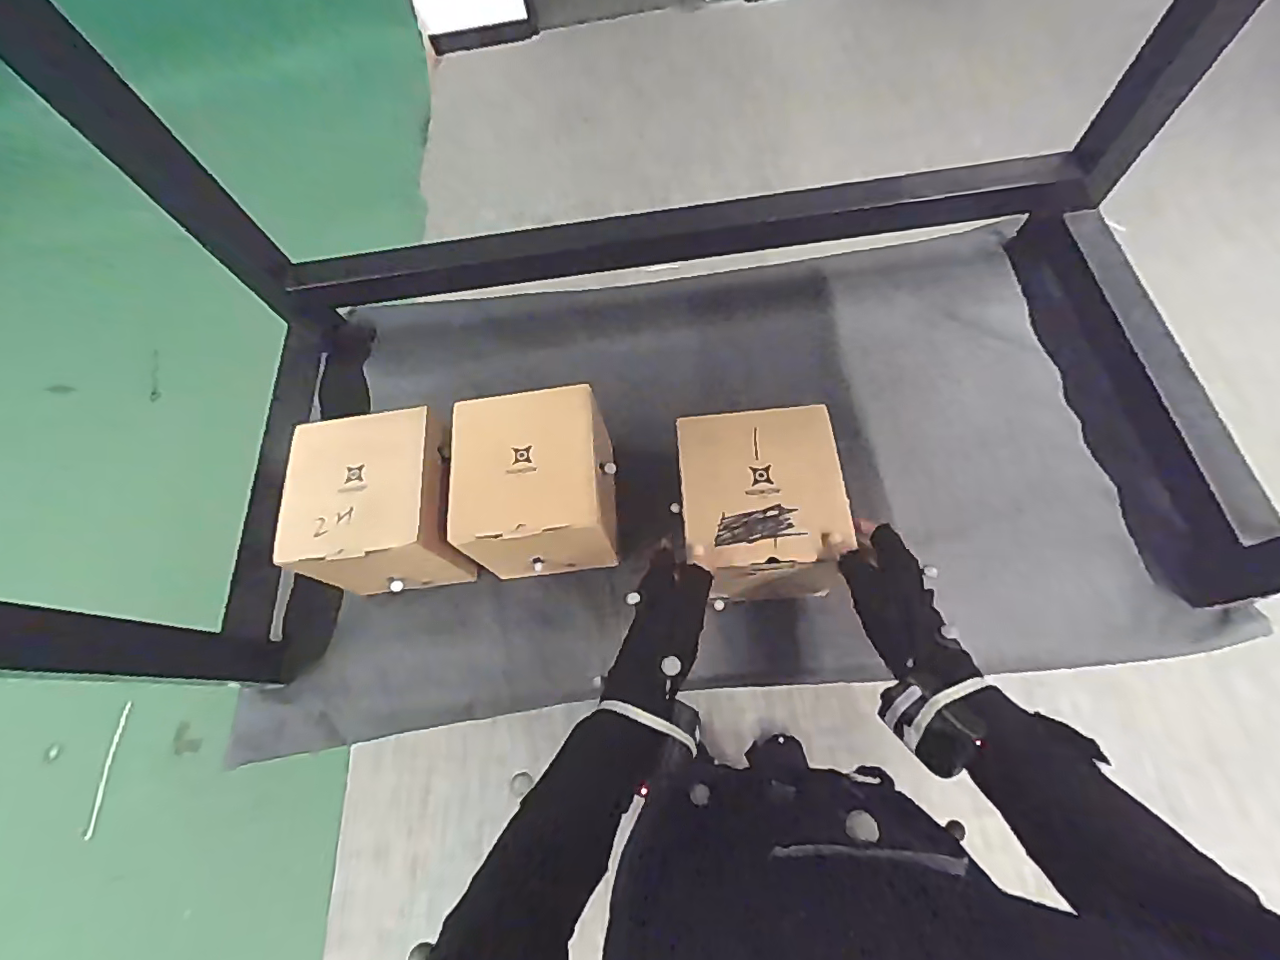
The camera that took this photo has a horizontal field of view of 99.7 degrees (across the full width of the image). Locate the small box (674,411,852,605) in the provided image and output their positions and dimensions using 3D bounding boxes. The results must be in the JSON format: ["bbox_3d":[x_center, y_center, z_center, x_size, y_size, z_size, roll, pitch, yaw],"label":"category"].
[{"bbox_3d":[0.130,0.043,0.628,0.168,0.176,0.179,-5,64,5],"label":"small box"}]

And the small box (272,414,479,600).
[{"bbox_3d":[-0.314,0.041,0.684,0.168,0.176,0.179,-8,65,4],"label":"small box"}]
